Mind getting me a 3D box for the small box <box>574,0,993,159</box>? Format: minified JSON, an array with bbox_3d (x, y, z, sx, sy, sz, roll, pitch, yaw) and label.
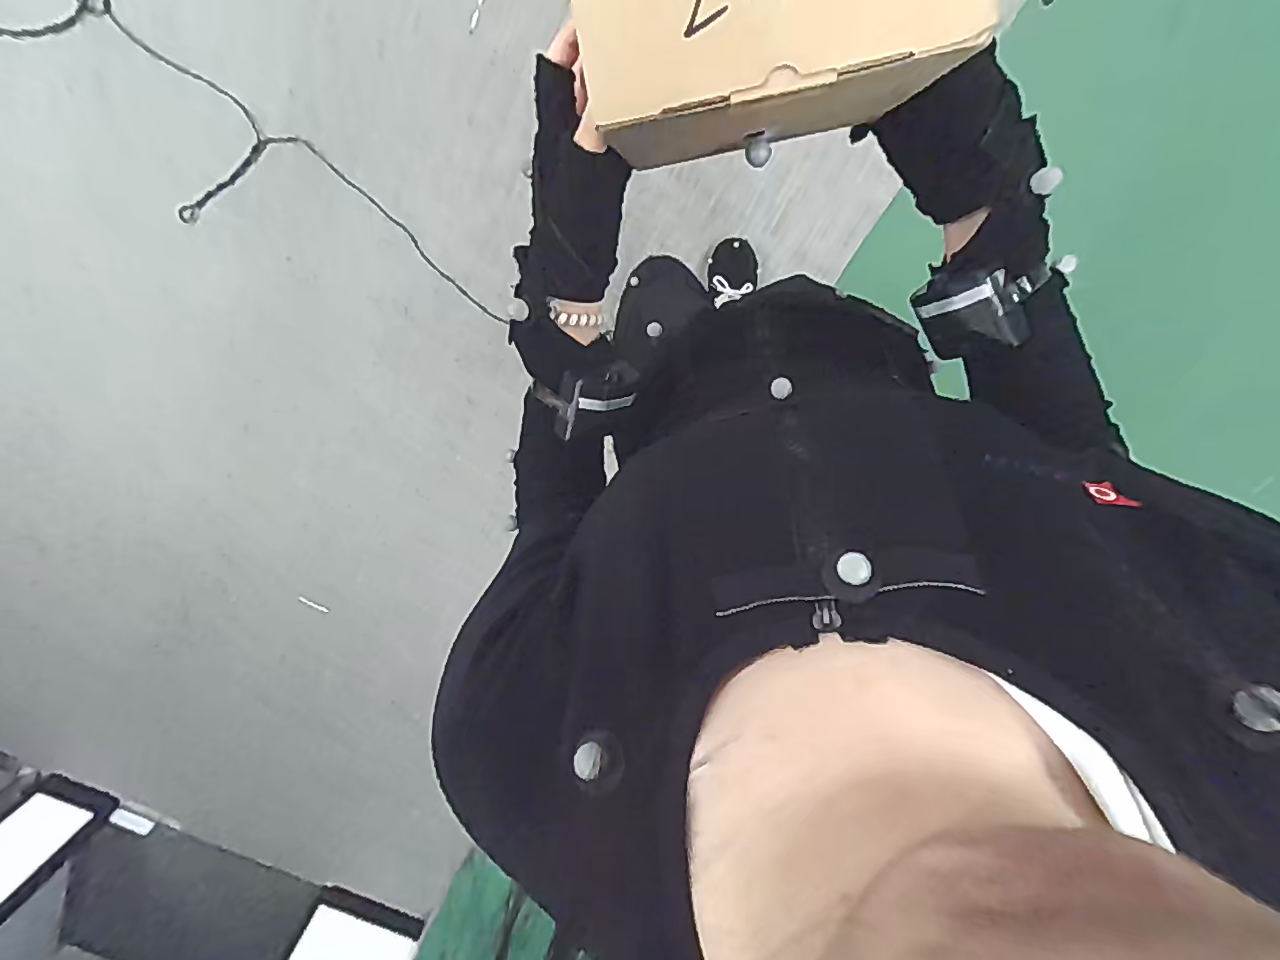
[{"bbox_3d":[0.053,-0.280,0.266,0.168,0.176,0.179,-7,114,10],"label":"small box"}]
